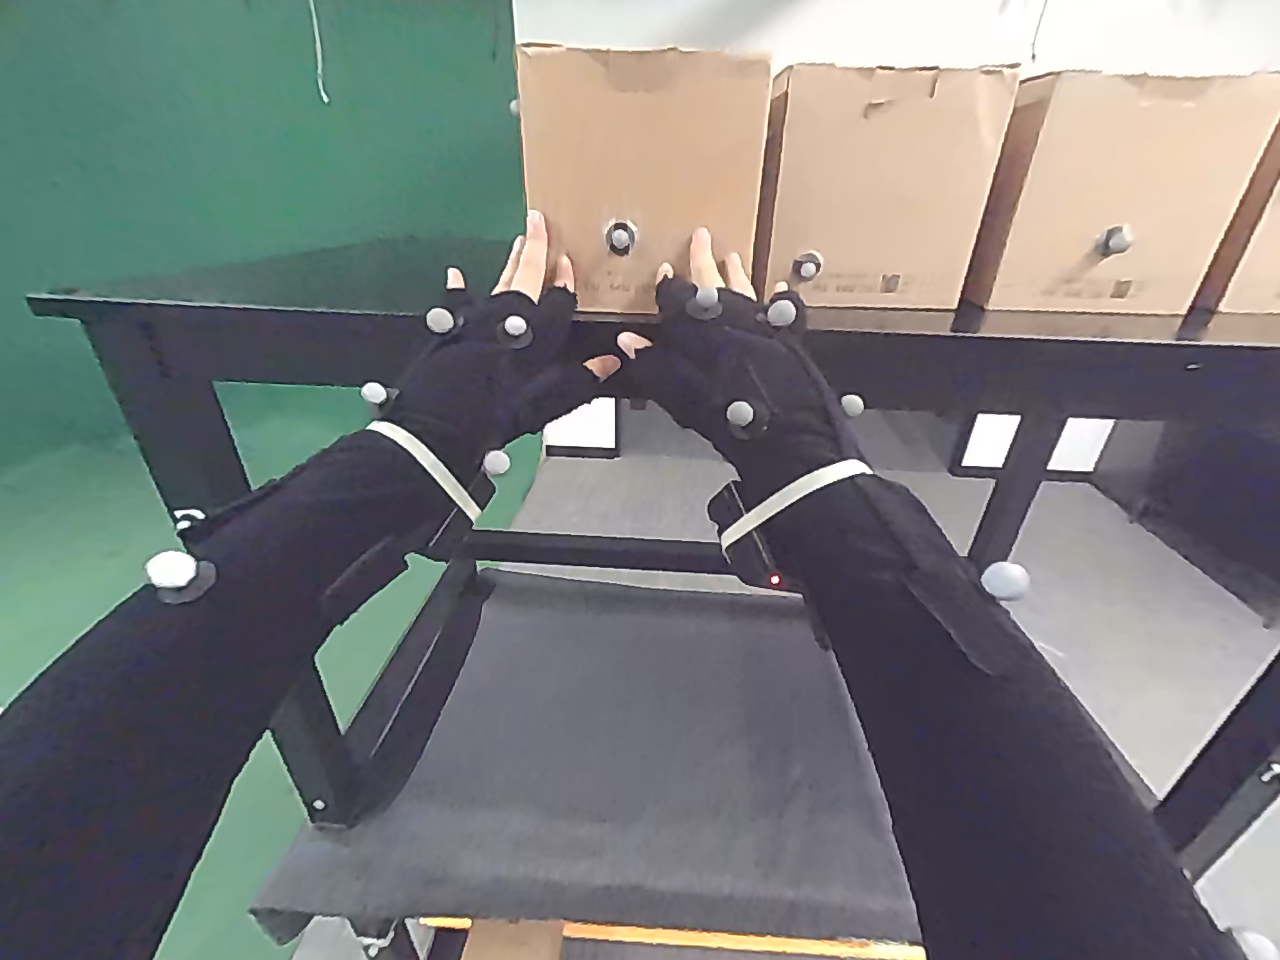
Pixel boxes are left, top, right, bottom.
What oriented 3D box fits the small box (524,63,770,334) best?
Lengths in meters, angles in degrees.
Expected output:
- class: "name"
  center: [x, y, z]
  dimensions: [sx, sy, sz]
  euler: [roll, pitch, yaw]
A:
- class: "small box"
  center: [0.005, -0.232, 0.461]
  dimensions: [0.168, 0.176, 0.179]
  euler: [2, 29, 1]
